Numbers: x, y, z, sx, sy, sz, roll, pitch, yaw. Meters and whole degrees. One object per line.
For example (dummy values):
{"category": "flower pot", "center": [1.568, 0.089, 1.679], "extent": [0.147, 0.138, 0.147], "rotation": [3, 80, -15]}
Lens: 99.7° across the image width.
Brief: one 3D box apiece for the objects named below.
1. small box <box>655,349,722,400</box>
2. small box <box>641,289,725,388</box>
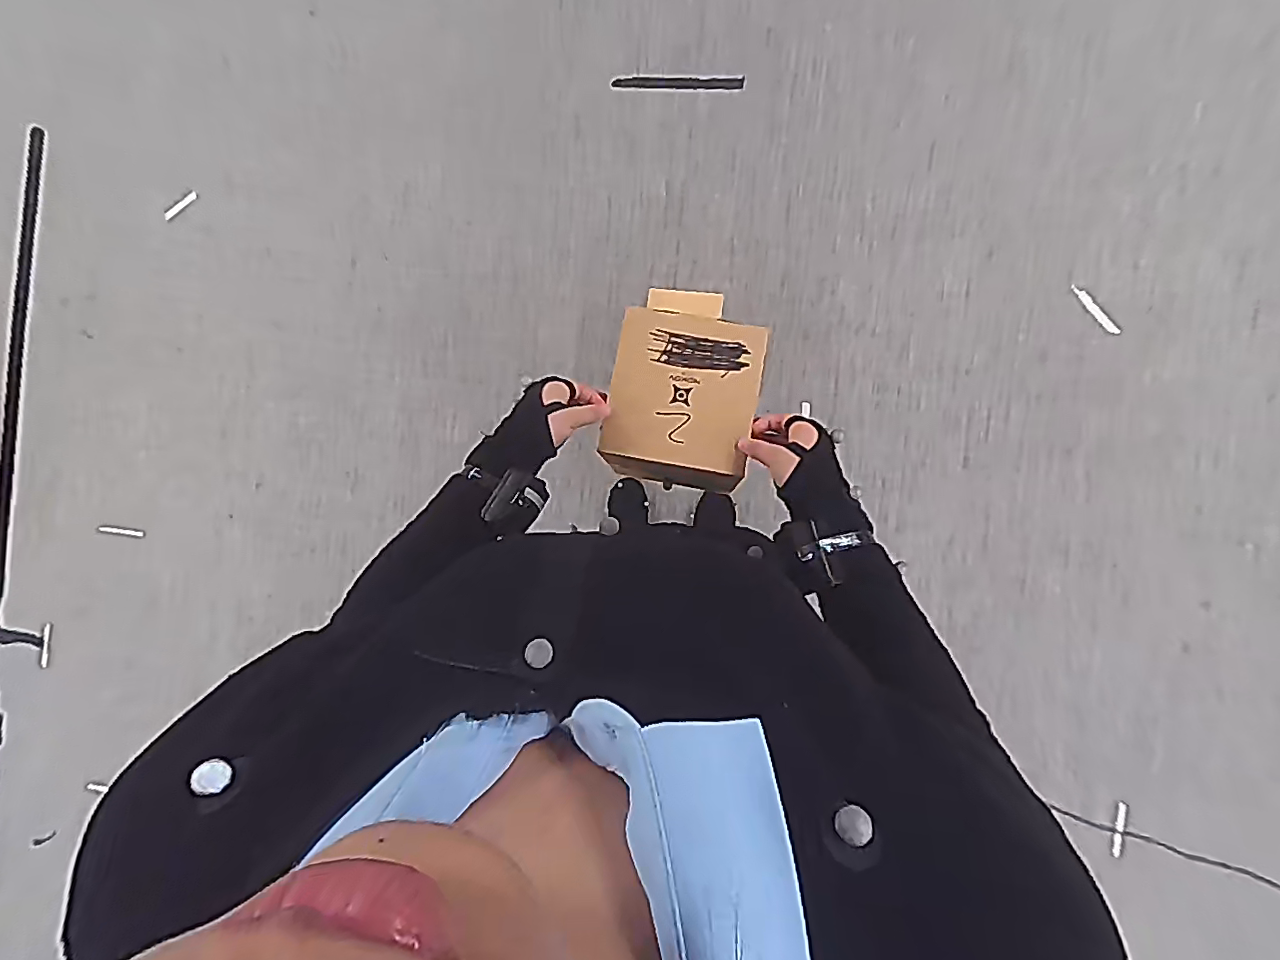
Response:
{"category": "small box", "center": [0.120, -0.313, 1.406], "extent": [0.168, 0.176, 0.179], "rotation": [-6, 90, 6]}
{"category": "small box", "center": [0.098, -0.320, 1.245], "extent": [0.168, 0.176, 0.179], "rotation": [7, 91, 5]}
